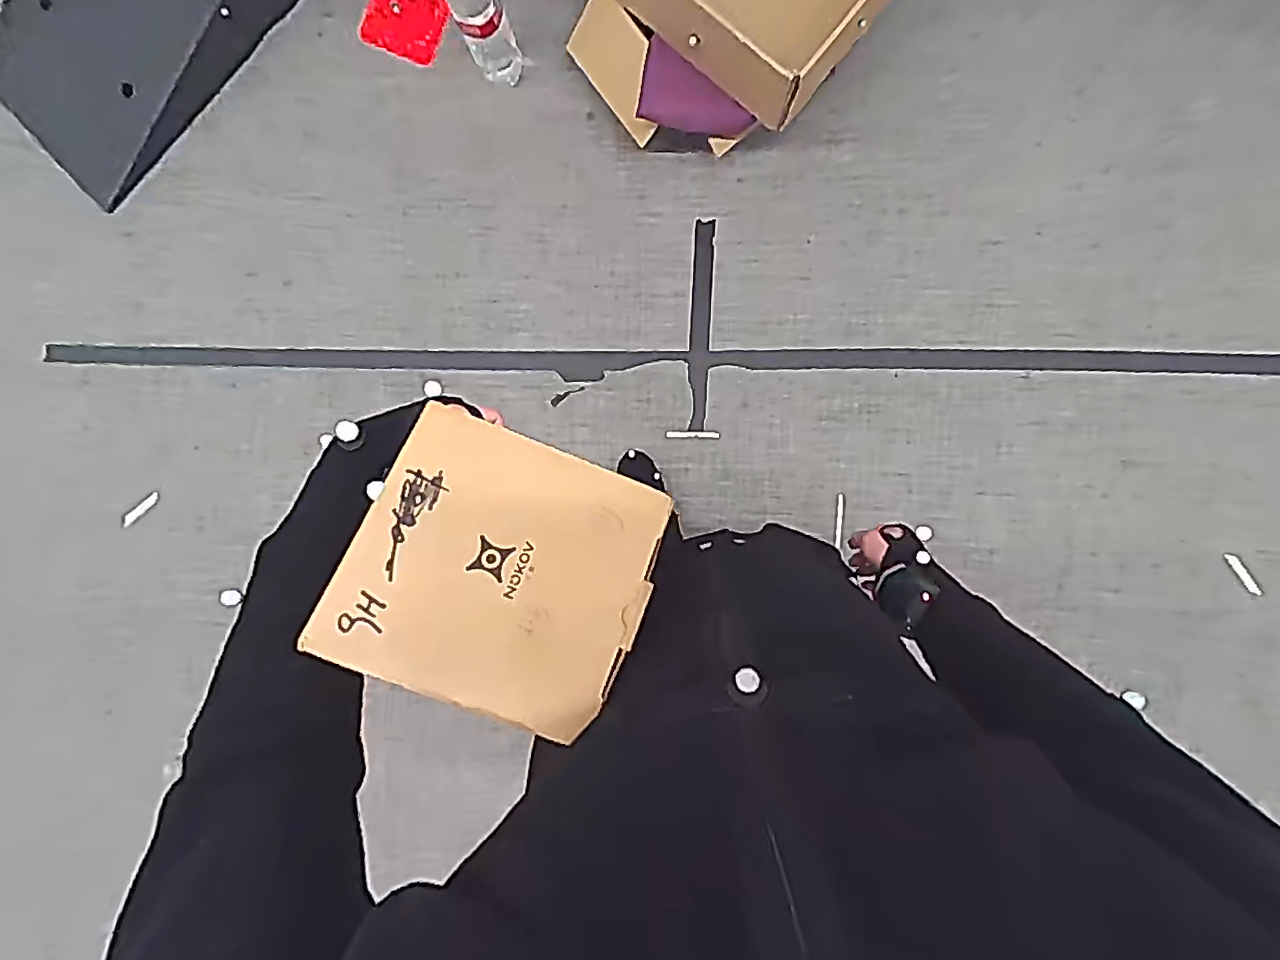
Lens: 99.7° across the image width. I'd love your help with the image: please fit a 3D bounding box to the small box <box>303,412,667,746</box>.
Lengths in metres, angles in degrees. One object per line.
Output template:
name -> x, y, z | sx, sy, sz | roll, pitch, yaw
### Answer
small box -> -0.103, 0.078, 0.416 | 0.179, 0.176, 0.168 | 22, 71, -5
